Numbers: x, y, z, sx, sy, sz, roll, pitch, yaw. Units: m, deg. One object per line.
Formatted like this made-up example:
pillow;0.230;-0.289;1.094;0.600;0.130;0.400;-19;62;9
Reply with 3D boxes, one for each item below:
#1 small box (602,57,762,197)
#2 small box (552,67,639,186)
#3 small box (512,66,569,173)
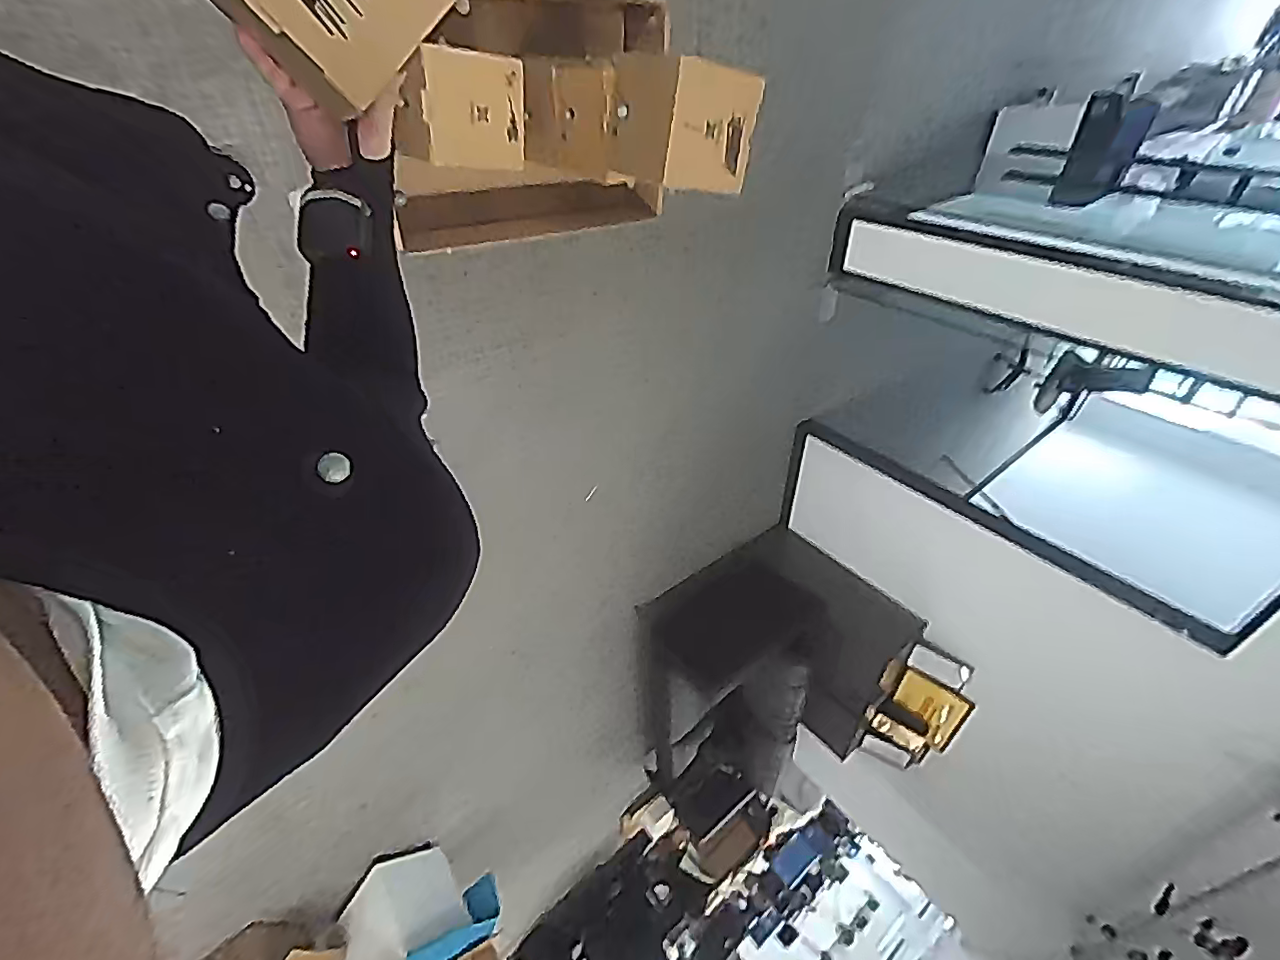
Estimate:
small box;0.062;-0.573;0.882;0.179;0.176;0.168;-15;129;-34
small box;-0.040;-0.649;0.987;0.179;0.176;0.168;-24;134;-28
small box;-0.136;-0.729;1.090;0.179;0.176;0.168;-24;133;-29
